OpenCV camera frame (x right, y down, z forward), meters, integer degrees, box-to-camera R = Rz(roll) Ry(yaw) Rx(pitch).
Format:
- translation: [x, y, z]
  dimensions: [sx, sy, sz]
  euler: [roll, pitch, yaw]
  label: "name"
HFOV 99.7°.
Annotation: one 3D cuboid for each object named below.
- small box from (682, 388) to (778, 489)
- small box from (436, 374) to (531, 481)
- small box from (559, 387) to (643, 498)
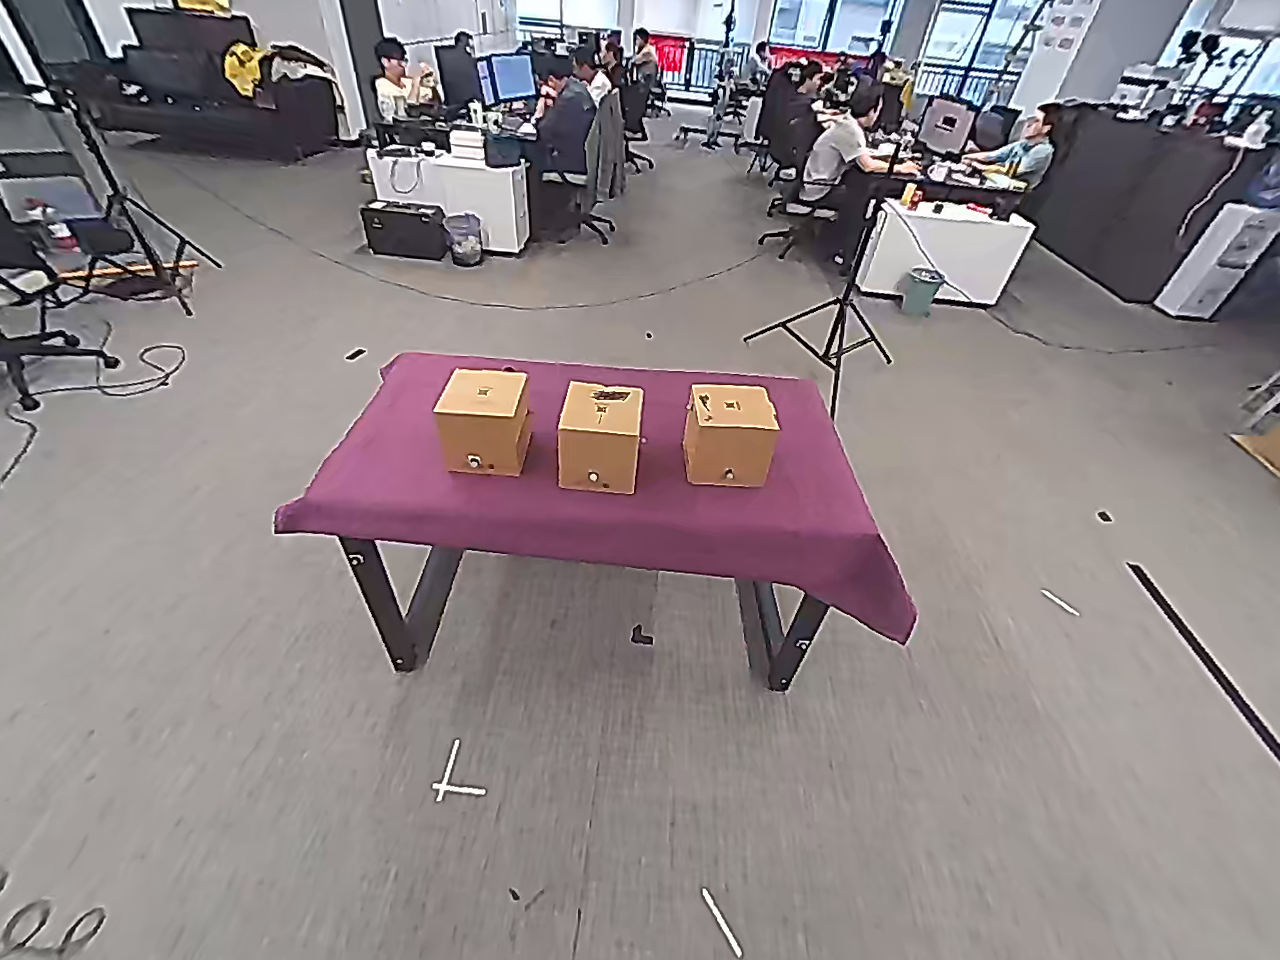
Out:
- translation: [0.200, -0.094, 1.251]
  dimensions: [0.179, 0.176, 0.168]
  euler: [3, 40, -4]
  label: "small box"
- translation: [-0.342, -0.119, 1.221]
  dimensions: [0.168, 0.176, 0.179]
  euler: [2, 41, -2]
  label: "small box"
- translation: [-0.086, -0.084, 1.207]
  dimensions: [0.168, 0.176, 0.179]
  euler: [5, 41, 0]
  label: "small box"
